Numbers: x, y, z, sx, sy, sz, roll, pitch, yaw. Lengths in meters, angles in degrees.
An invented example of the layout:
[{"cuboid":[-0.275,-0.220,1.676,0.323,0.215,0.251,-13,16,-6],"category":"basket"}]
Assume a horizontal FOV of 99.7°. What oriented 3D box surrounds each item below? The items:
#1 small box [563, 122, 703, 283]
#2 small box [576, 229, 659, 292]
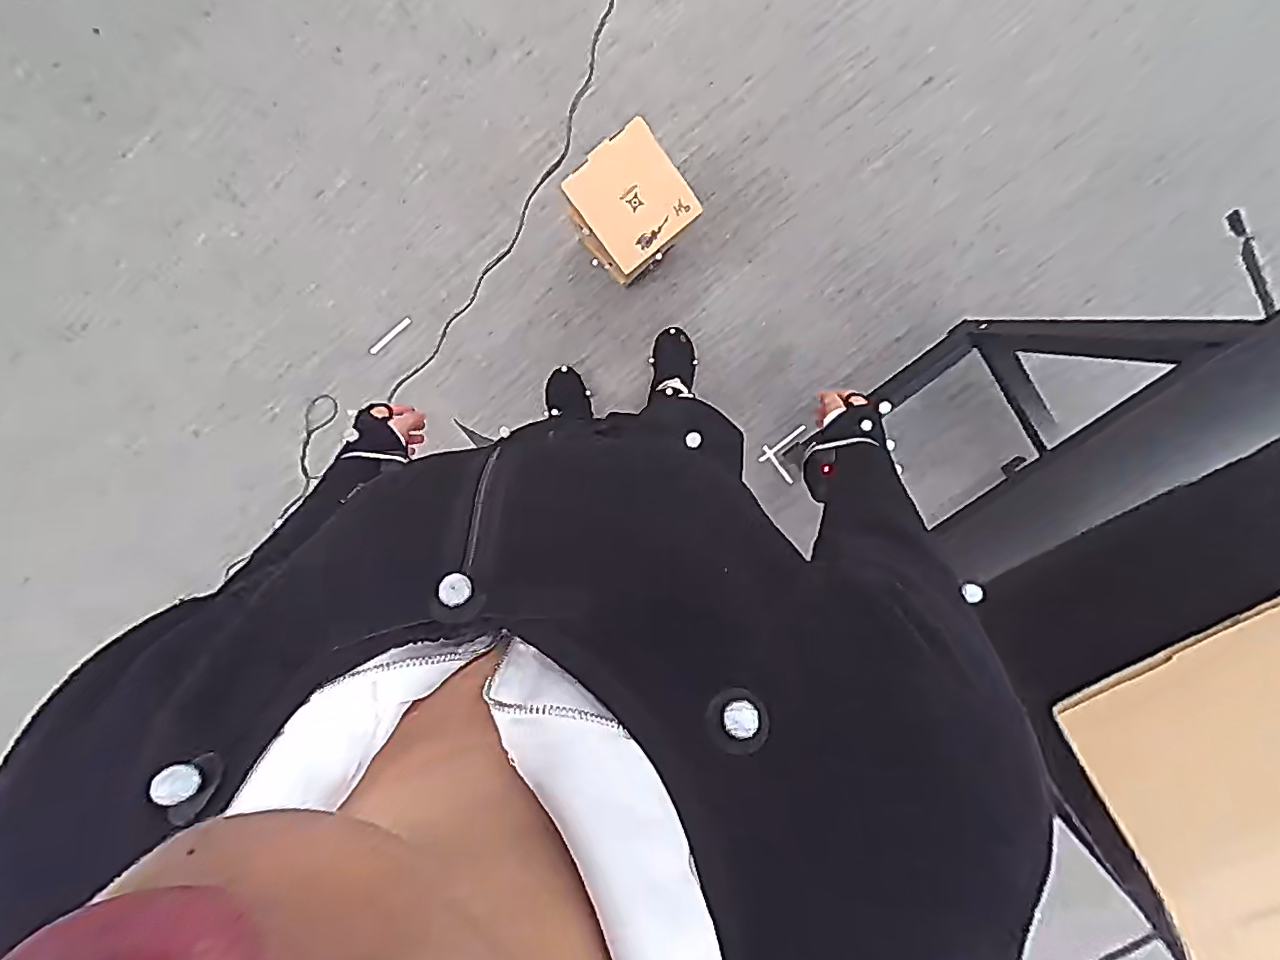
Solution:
[{"cuboid":[-0.013,-0.473,0.956,0.168,0.176,0.179,-37,103,8],"category":"small box"},{"cuboid":[-0.029,-0.565,1.268,0.179,0.176,0.168,-41,102,10],"category":"small box"}]
